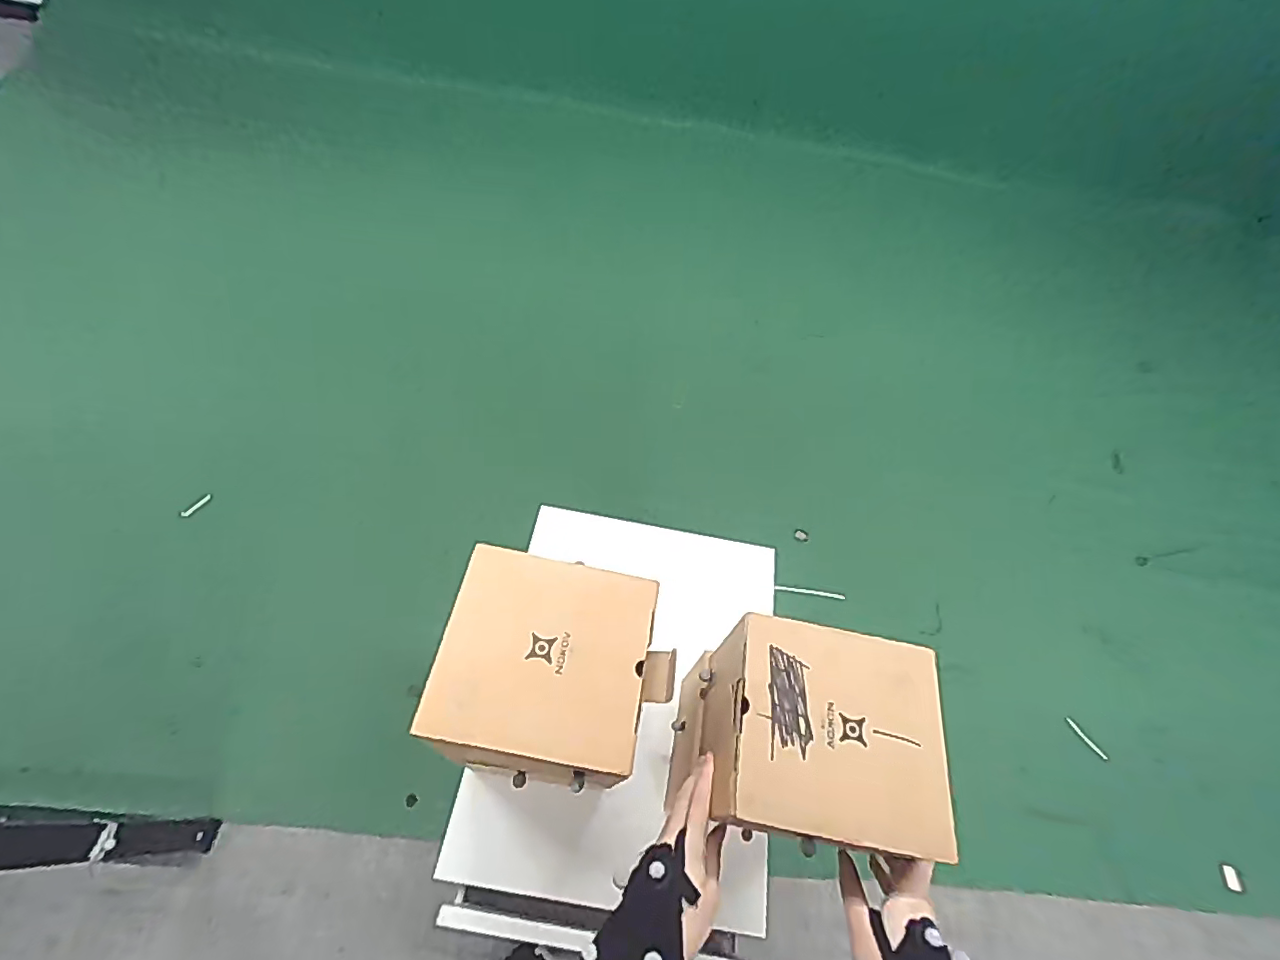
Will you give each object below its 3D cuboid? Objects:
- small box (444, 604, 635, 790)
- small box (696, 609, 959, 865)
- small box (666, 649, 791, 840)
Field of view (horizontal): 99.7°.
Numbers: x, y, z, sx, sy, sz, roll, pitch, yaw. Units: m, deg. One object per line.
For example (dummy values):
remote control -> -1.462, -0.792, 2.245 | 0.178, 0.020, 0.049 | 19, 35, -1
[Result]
small box -> -0.111, 0.268, 0.653 | 0.179, 0.176, 0.168 | 10, 57, -2
small box -> 0.157, 0.241, 0.508 | 0.179, 0.176, 0.168 | 13, 58, 0
small box -> 0.134, 0.322, 0.650 | 0.179, 0.176, 0.168 | 12, 58, 1
